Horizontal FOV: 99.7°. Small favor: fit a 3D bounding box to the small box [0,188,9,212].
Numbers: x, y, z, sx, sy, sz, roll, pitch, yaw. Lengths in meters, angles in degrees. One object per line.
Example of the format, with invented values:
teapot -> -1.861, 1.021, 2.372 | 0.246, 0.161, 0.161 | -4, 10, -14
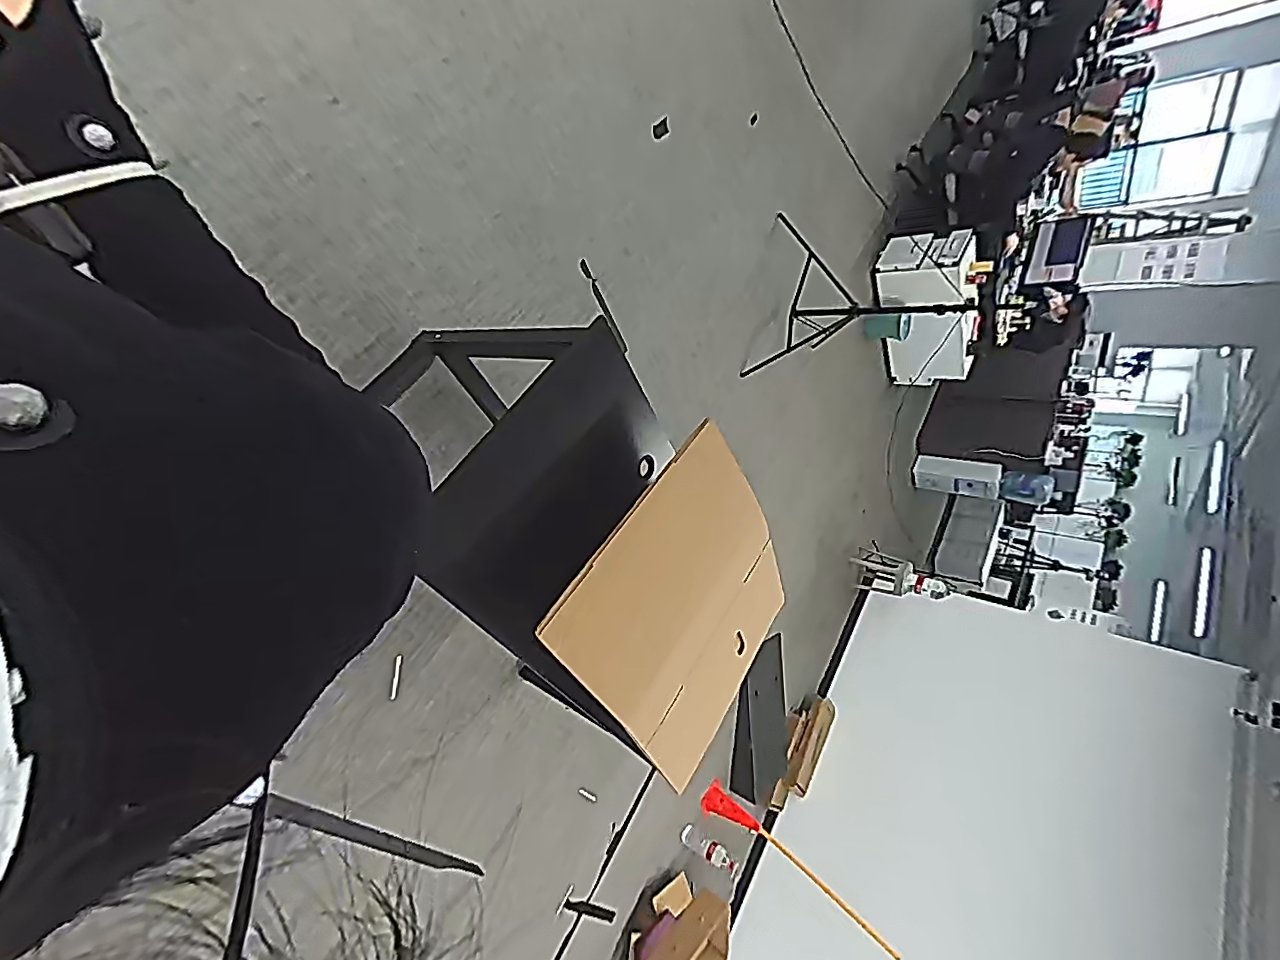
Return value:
small box -> -1.143, -0.447, 0.824 | 0.179, 0.176, 0.168 | -58, 136, -22
